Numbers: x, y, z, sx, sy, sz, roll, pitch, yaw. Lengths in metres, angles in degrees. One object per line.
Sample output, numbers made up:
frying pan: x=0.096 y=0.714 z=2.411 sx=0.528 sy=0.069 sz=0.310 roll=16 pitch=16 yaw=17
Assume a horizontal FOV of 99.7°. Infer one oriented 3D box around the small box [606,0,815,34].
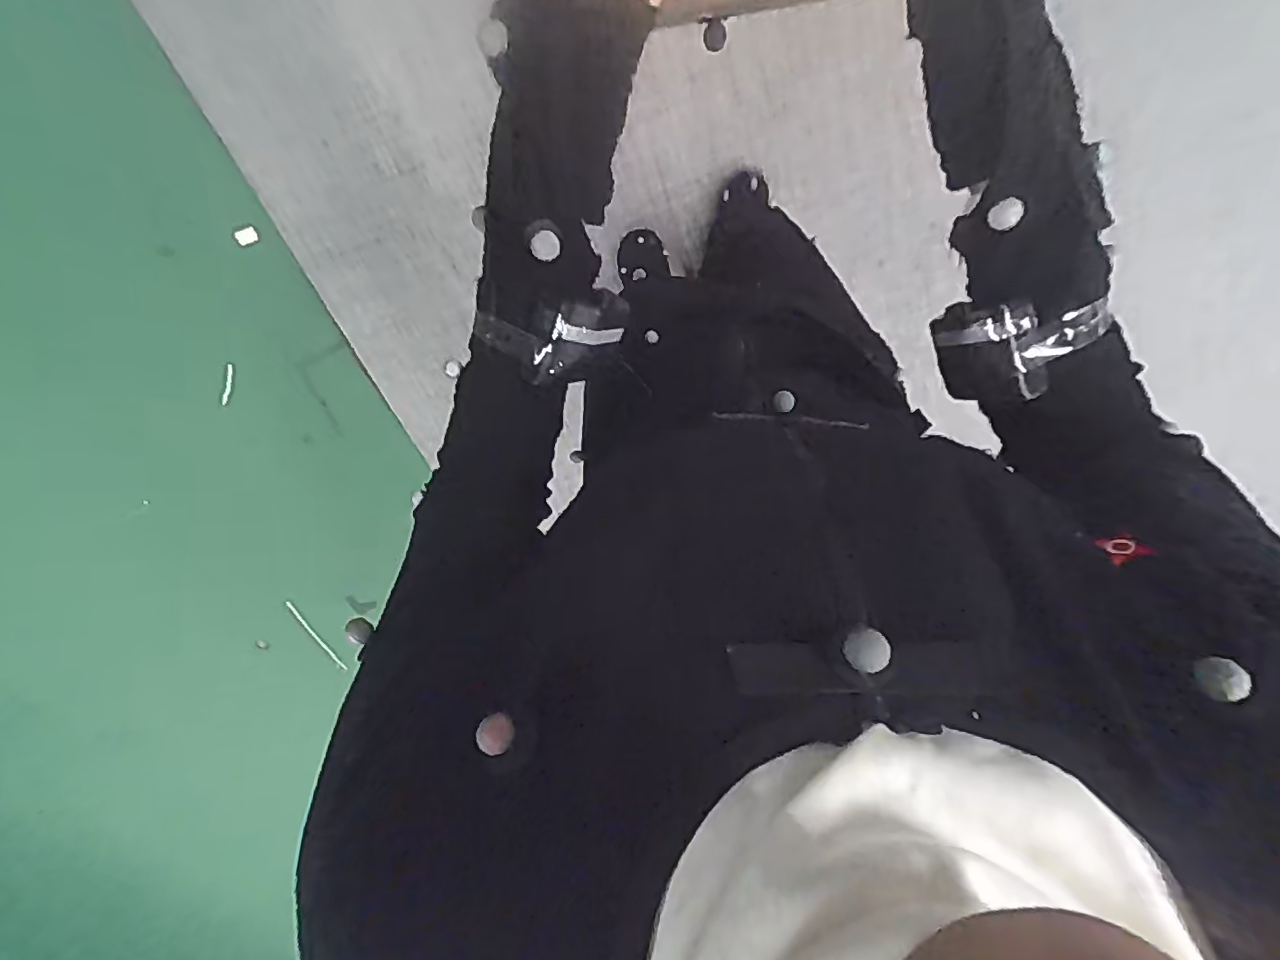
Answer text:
small box: x=0.050 y=-0.356 z=0.272 sx=0.168 sy=0.176 sz=0.179 roll=-8 pitch=125 yaw=3
